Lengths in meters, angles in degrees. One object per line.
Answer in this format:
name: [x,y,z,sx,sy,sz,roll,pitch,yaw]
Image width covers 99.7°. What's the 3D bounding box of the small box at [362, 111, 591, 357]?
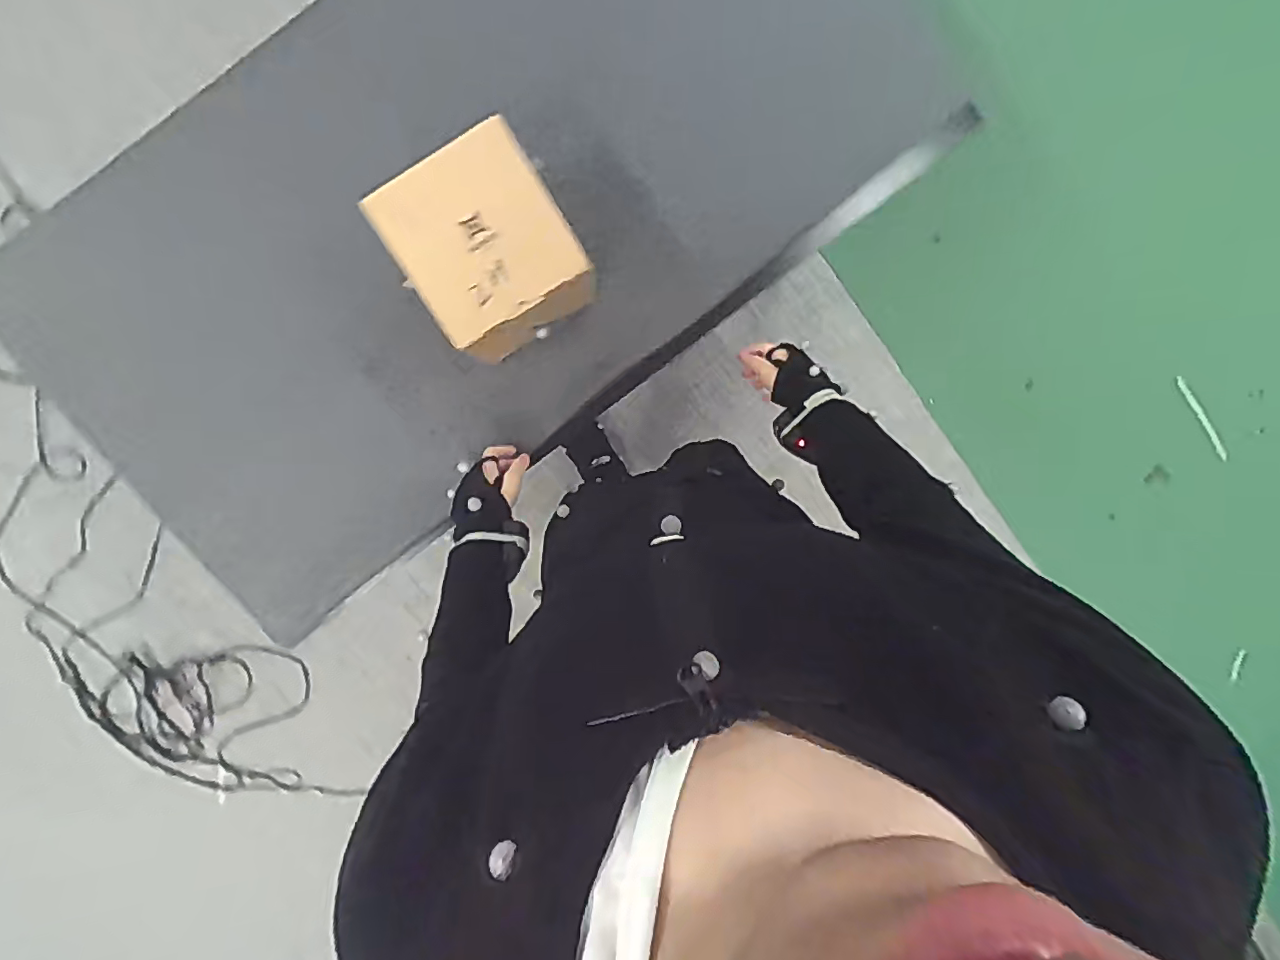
small box: [-0.170,-0.263,0.626,0.168,0.176,0.179,-33,98,1]
